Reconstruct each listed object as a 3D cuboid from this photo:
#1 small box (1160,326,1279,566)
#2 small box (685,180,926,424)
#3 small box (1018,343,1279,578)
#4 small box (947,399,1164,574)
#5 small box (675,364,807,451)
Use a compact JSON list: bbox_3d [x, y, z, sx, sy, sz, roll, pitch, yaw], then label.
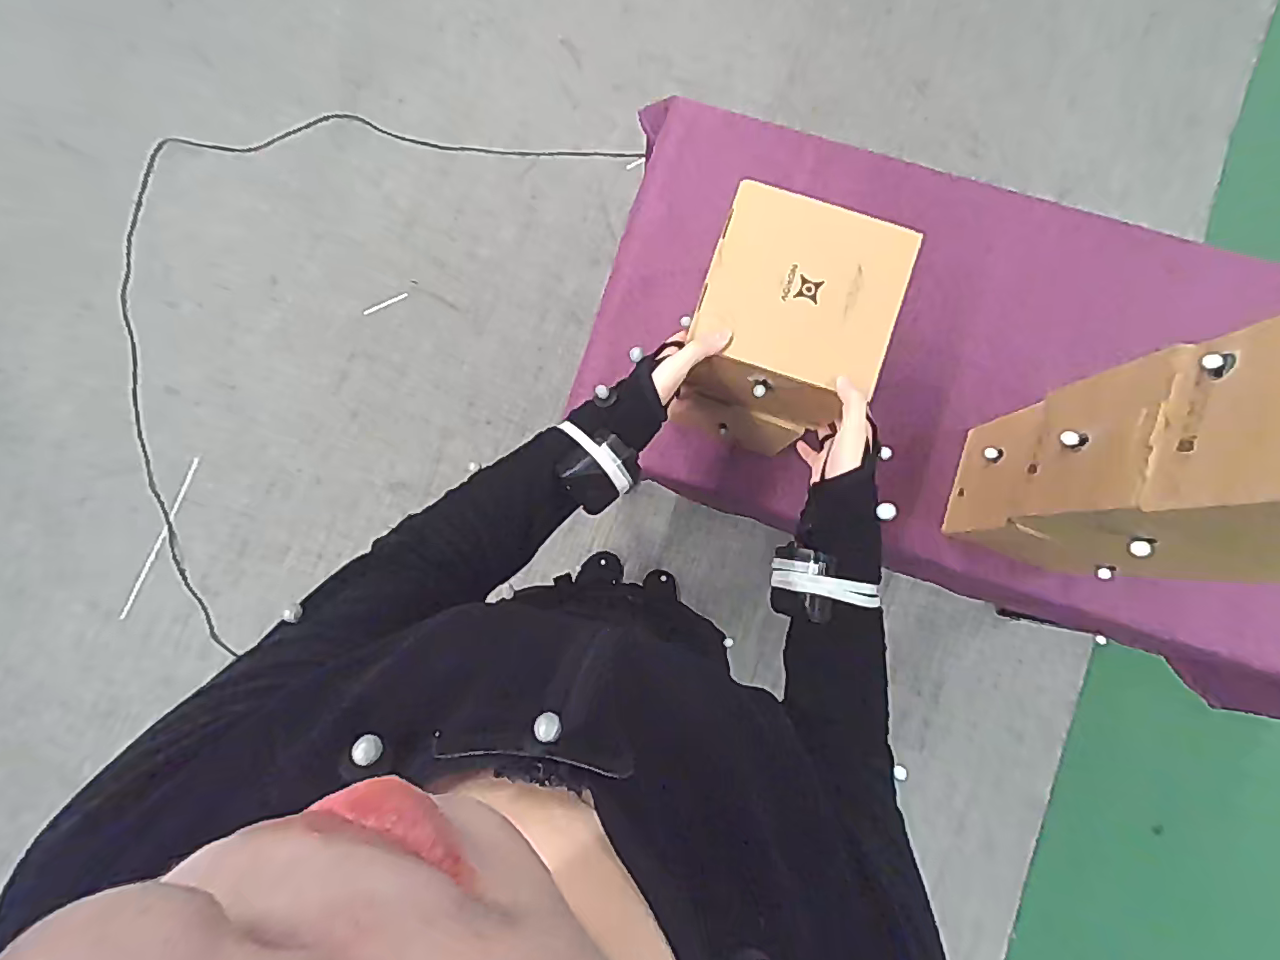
[{"bbox_3d":[0.540,-0.022,0.382,0.179,0.176,0.168,24,84,2],"label":"small box"},{"bbox_3d":[0.153,-0.167,0.567,0.179,0.176,0.168,19,88,3],"label":"small box"},{"bbox_3d":[0.535,-0.006,0.546,0.179,0.176,0.168,23,84,4],"label":"small box"},{"bbox_3d":[0.543,0.016,0.709,0.179,0.176,0.168,19,84,3],"label":"small box"},{"bbox_3d":[0.152,-0.153,0.734,0.168,0.176,0.179,21,84,3],"label":"small box"}]
